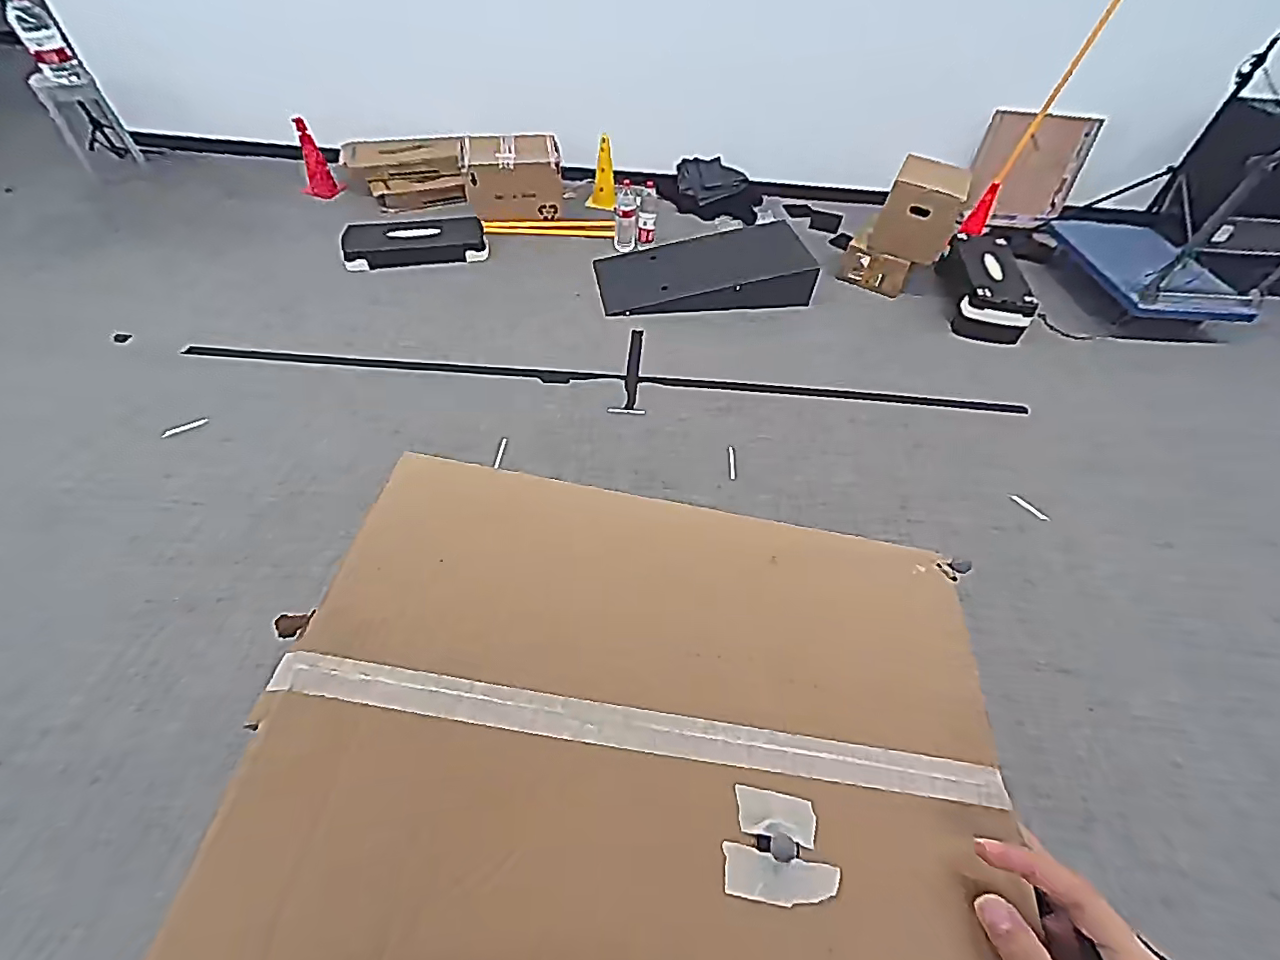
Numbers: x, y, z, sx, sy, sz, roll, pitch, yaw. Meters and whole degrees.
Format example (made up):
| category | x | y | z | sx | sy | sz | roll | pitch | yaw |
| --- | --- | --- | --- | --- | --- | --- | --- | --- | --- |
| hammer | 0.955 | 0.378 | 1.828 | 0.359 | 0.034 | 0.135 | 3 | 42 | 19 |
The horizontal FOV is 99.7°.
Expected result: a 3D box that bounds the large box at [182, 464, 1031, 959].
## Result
| category | x | y | z | sx | sy | sz | roll | pitch | yaw |
| --- | --- | --- | --- | --- | --- | --- | --- | --- | --- |
| large box | -0.011 | 0.230 | 0.432 | 0.408 | 0.320 | 0.320 | 12 | 54 | -3 |
